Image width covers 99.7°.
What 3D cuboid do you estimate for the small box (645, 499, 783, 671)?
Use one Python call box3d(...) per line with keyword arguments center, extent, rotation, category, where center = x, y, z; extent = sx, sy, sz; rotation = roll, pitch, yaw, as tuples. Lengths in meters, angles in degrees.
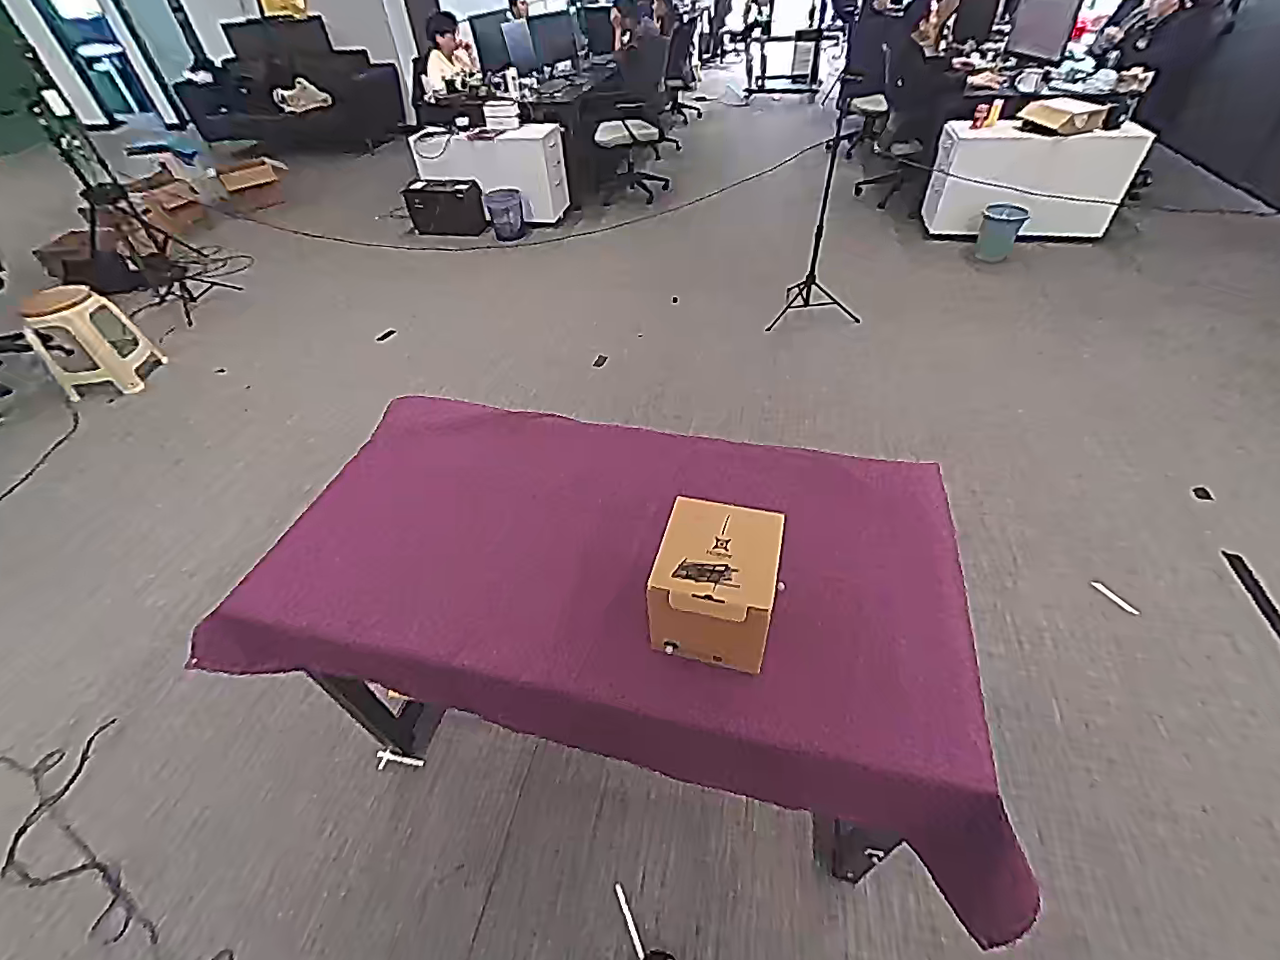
box3d(center=(0.113, 0.158, 0.811), extent=(0.168, 0.176, 0.179), rotation=(10, 45, 14), category="small box")
